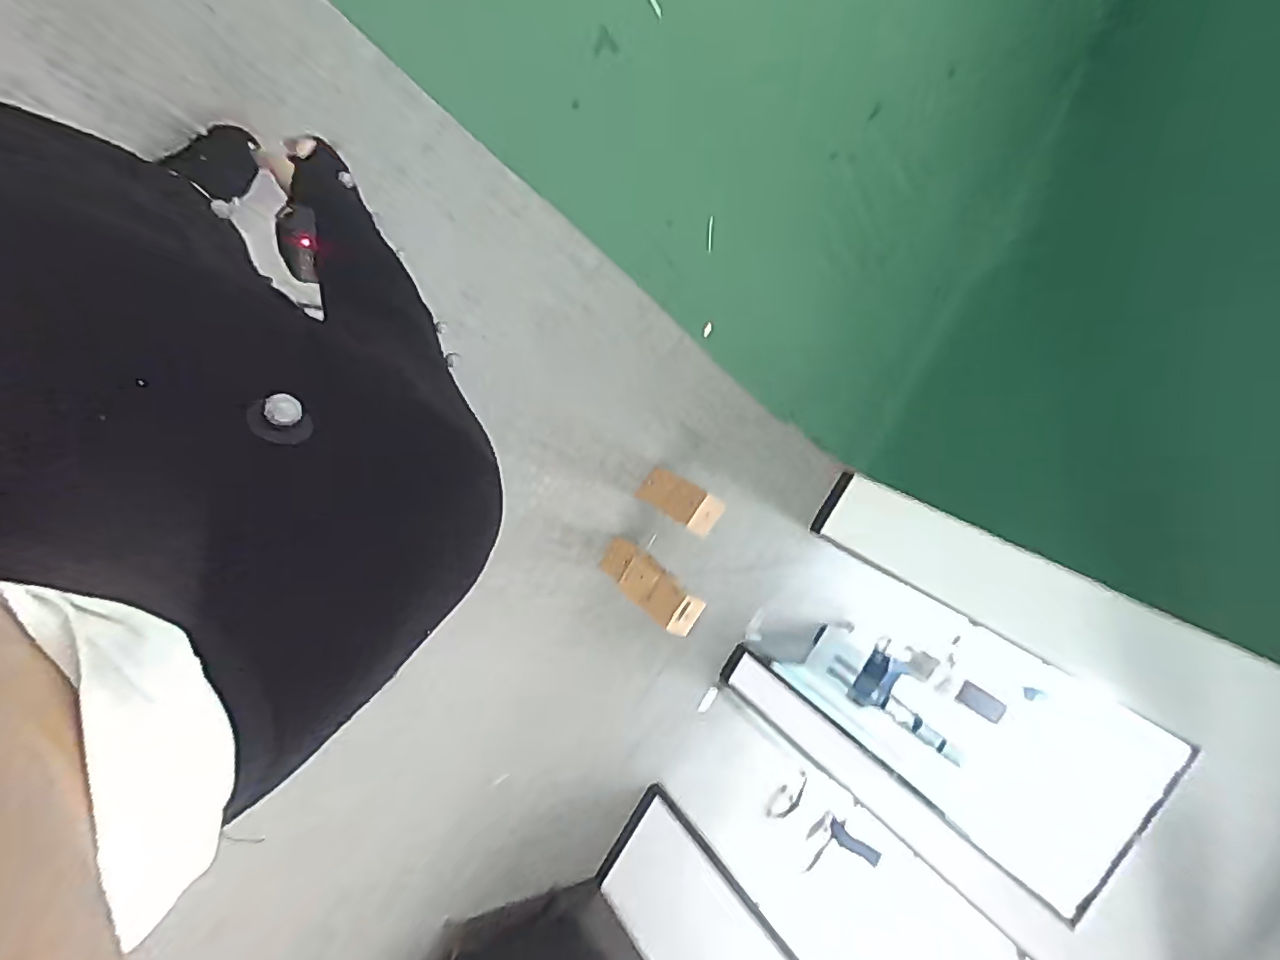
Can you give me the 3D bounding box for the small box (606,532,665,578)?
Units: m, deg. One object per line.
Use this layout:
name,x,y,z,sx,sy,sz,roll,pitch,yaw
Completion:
small box,-0.024,0.361,2.493,0.168,0.176,0.179,28,96,-47

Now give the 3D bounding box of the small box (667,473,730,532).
small box,0.249,0.094,2.332,0.168,0.176,0.179,32,92,-47

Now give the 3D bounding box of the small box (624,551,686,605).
small box,0.062,0.429,2.373,0.179,0.176,0.168,22,99,-48

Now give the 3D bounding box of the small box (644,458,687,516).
small box,0.144,0.031,2.443,0.168,0.176,0.179,30,93,-48
